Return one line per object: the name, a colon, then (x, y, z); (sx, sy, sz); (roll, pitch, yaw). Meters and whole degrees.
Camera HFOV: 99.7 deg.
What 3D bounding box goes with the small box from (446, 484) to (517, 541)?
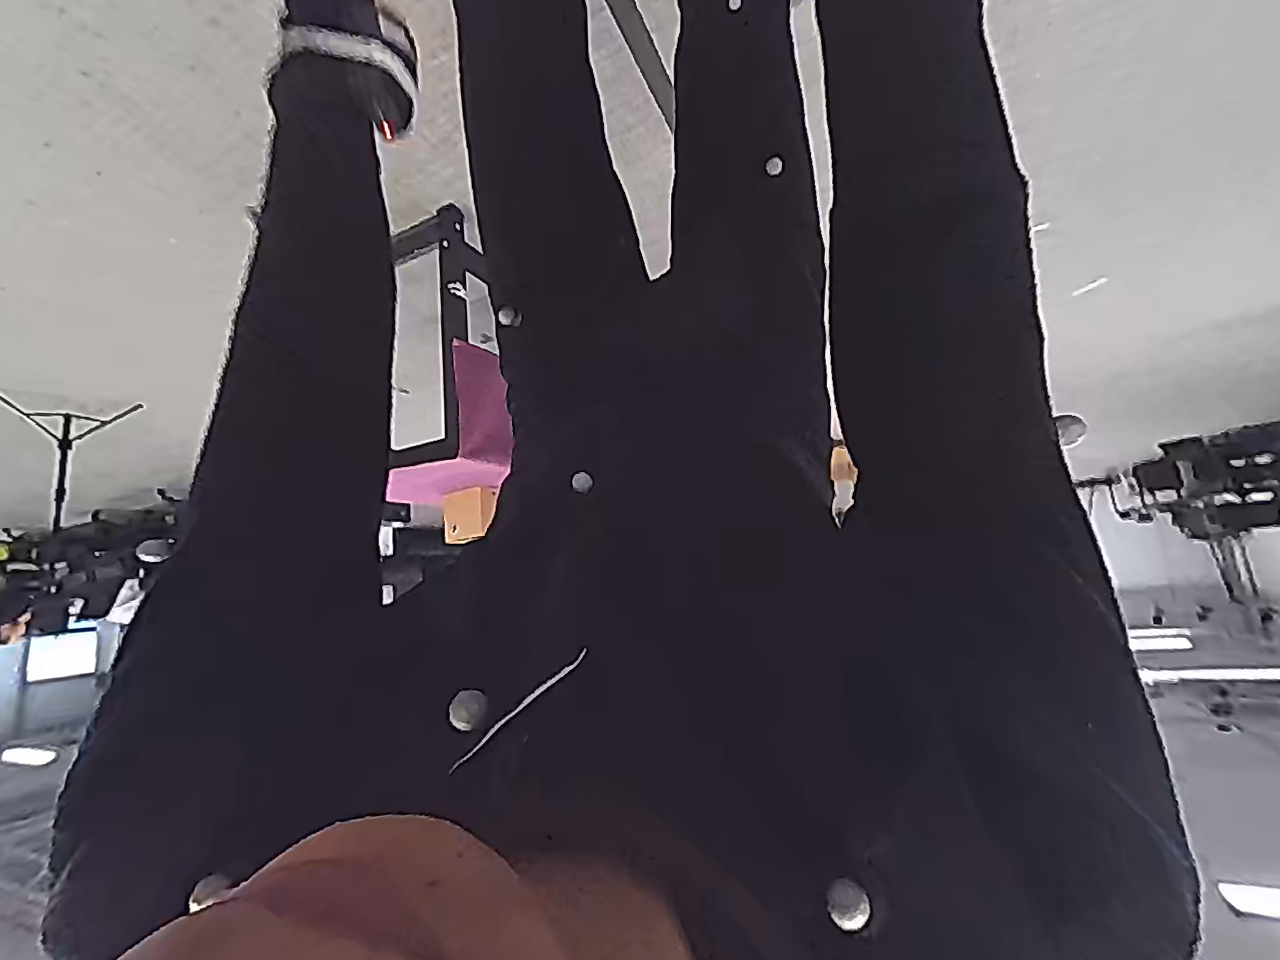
small box: (-0.540, 0.117, 1.850); (0.179, 0.176, 0.168); (-11, 169, 29)
